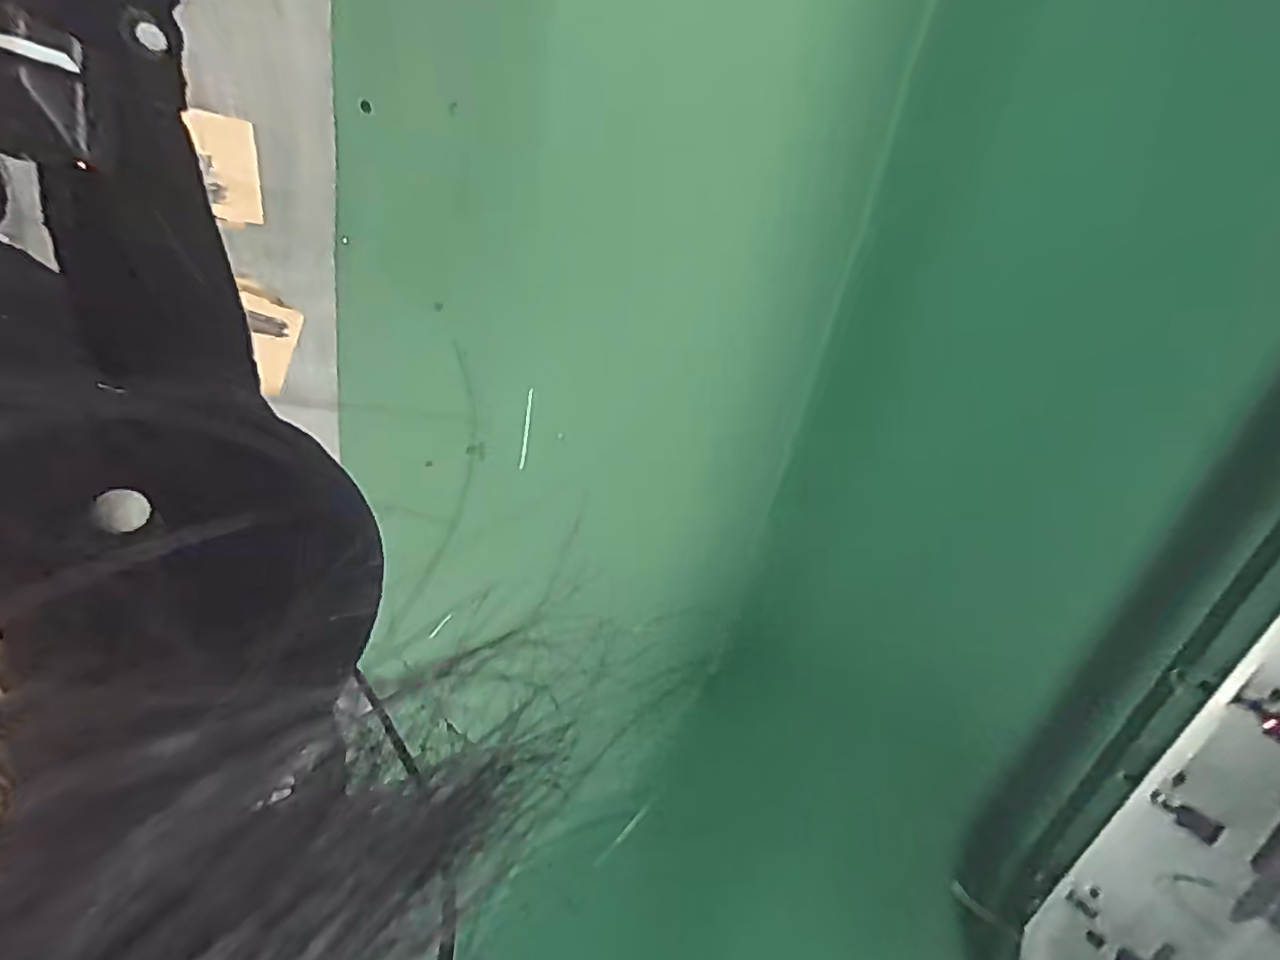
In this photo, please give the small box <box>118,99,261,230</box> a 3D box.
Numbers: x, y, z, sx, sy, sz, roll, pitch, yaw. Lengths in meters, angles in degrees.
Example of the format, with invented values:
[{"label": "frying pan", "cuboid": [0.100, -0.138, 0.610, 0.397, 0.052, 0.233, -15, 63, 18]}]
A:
[{"label": "small box", "cuboid": [-0.835, -0.583, 1.008, 0.168, 0.176, 0.179, -16, 125, -47]}]
